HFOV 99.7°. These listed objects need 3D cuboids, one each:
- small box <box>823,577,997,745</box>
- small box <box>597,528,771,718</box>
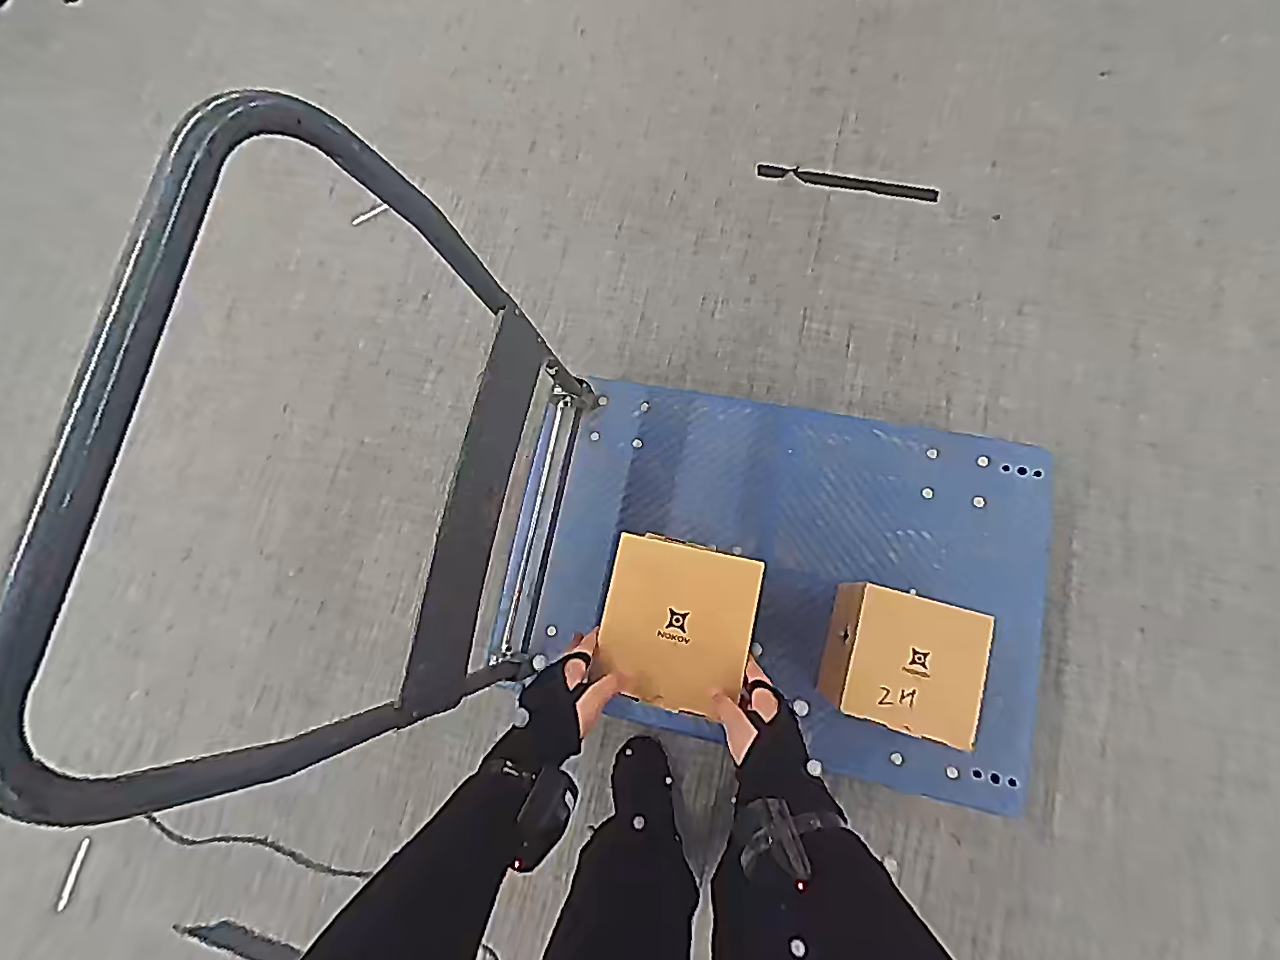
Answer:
[{"bbox_3d":[0.377,0.249,0.783,0.168,0.176,0.179,14,81,10],"label":"small box"},{"bbox_3d":[0.056,0.169,0.668,0.168,0.176,0.179,10,79,8],"label":"small box"}]
